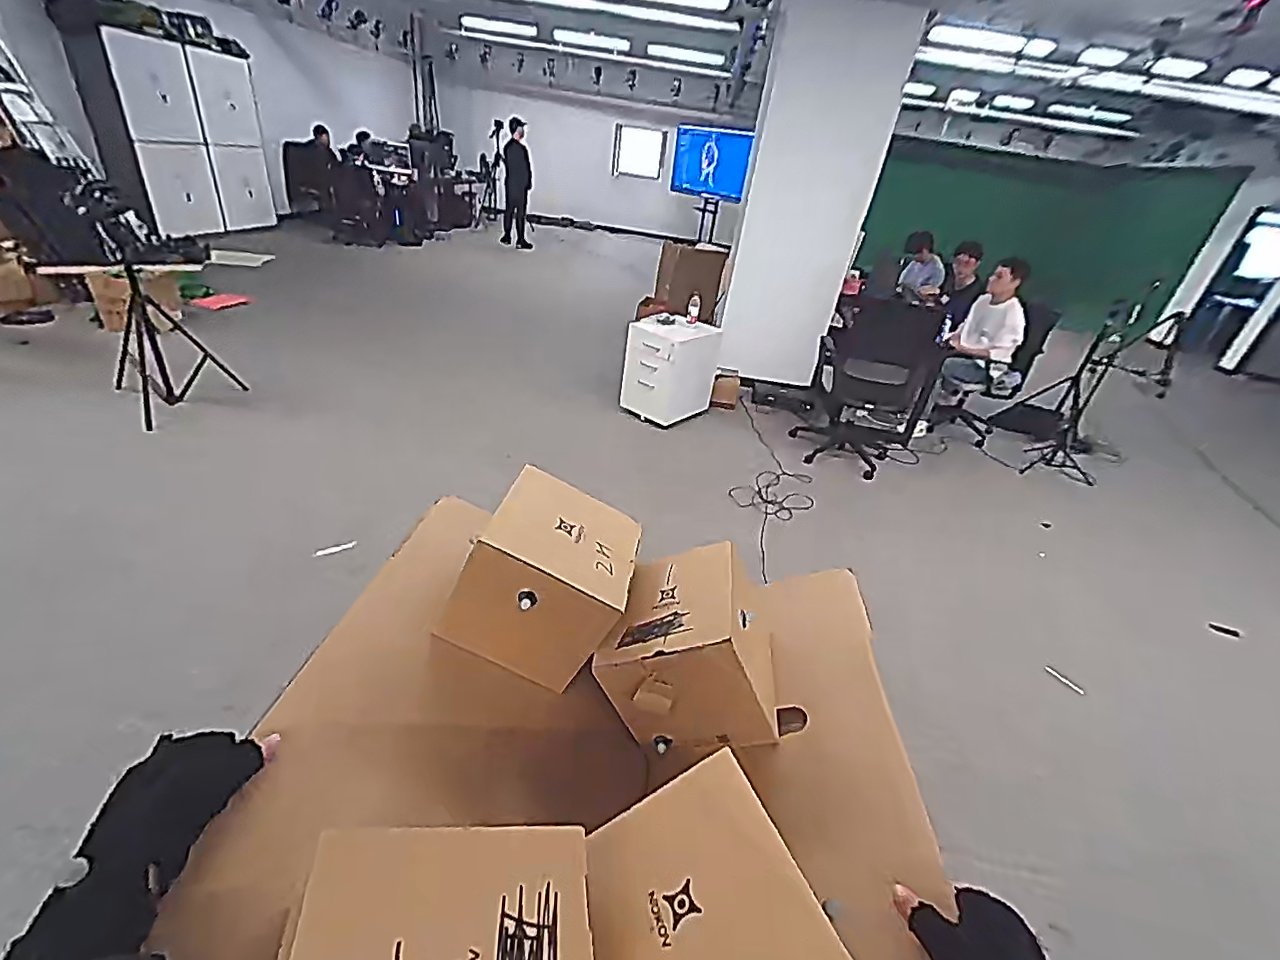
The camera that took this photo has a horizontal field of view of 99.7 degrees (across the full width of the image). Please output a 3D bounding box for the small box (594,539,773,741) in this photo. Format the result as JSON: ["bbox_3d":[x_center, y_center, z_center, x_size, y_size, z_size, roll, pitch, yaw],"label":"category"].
[{"bbox_3d":[0.065,0.208,0.691,0.168,0.176,0.179,-17,25,19],"label":"small box"}]
